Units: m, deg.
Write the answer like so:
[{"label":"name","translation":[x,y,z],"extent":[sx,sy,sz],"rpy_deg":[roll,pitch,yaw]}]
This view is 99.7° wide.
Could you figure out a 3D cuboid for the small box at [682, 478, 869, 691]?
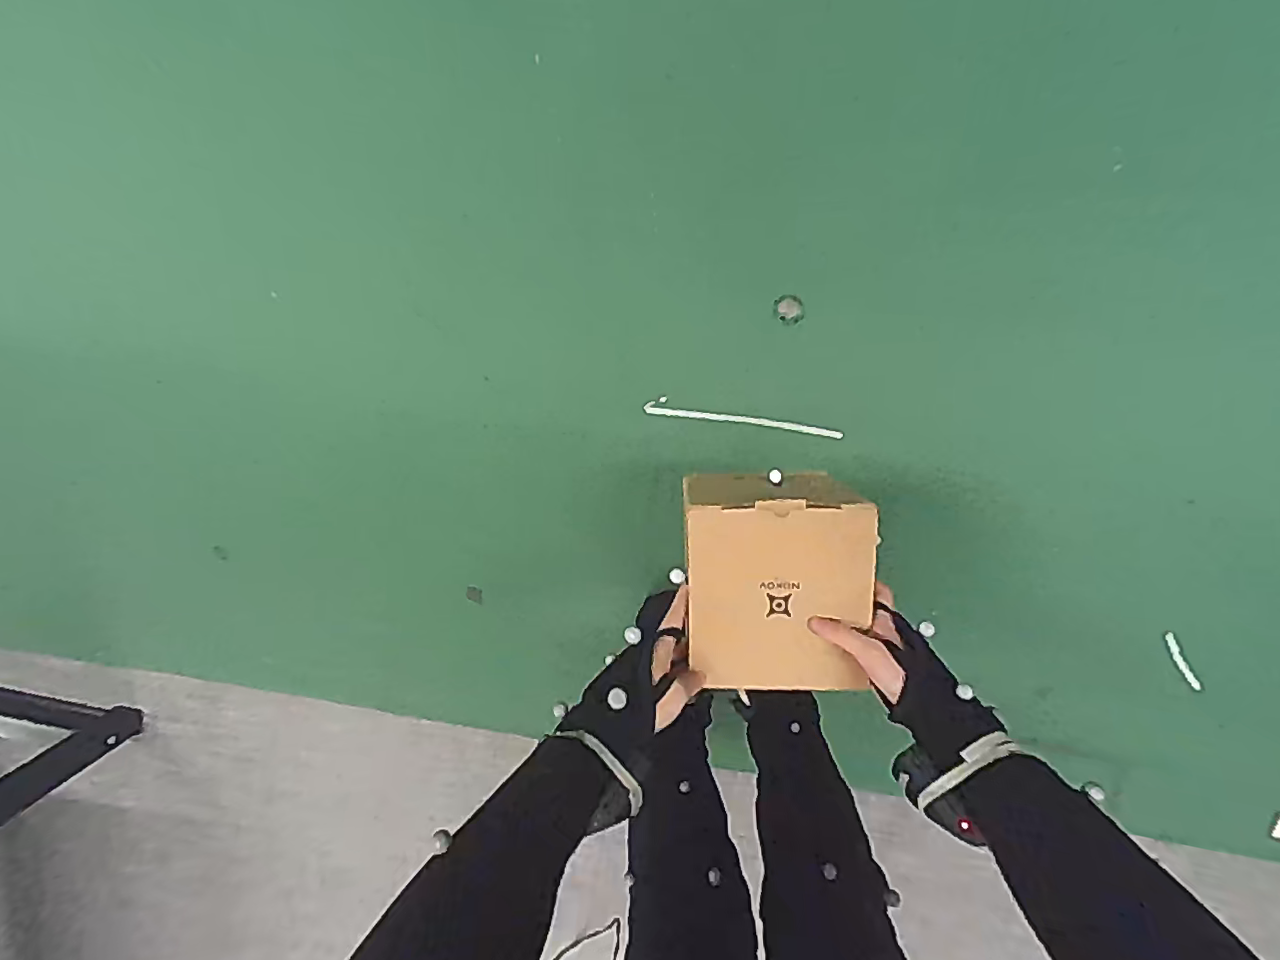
[{"label":"small box","translation":[0.129,0.098,0.576],"extent":[0.168,0.176,0.179],"rpy_deg":[0,99,5]}]
